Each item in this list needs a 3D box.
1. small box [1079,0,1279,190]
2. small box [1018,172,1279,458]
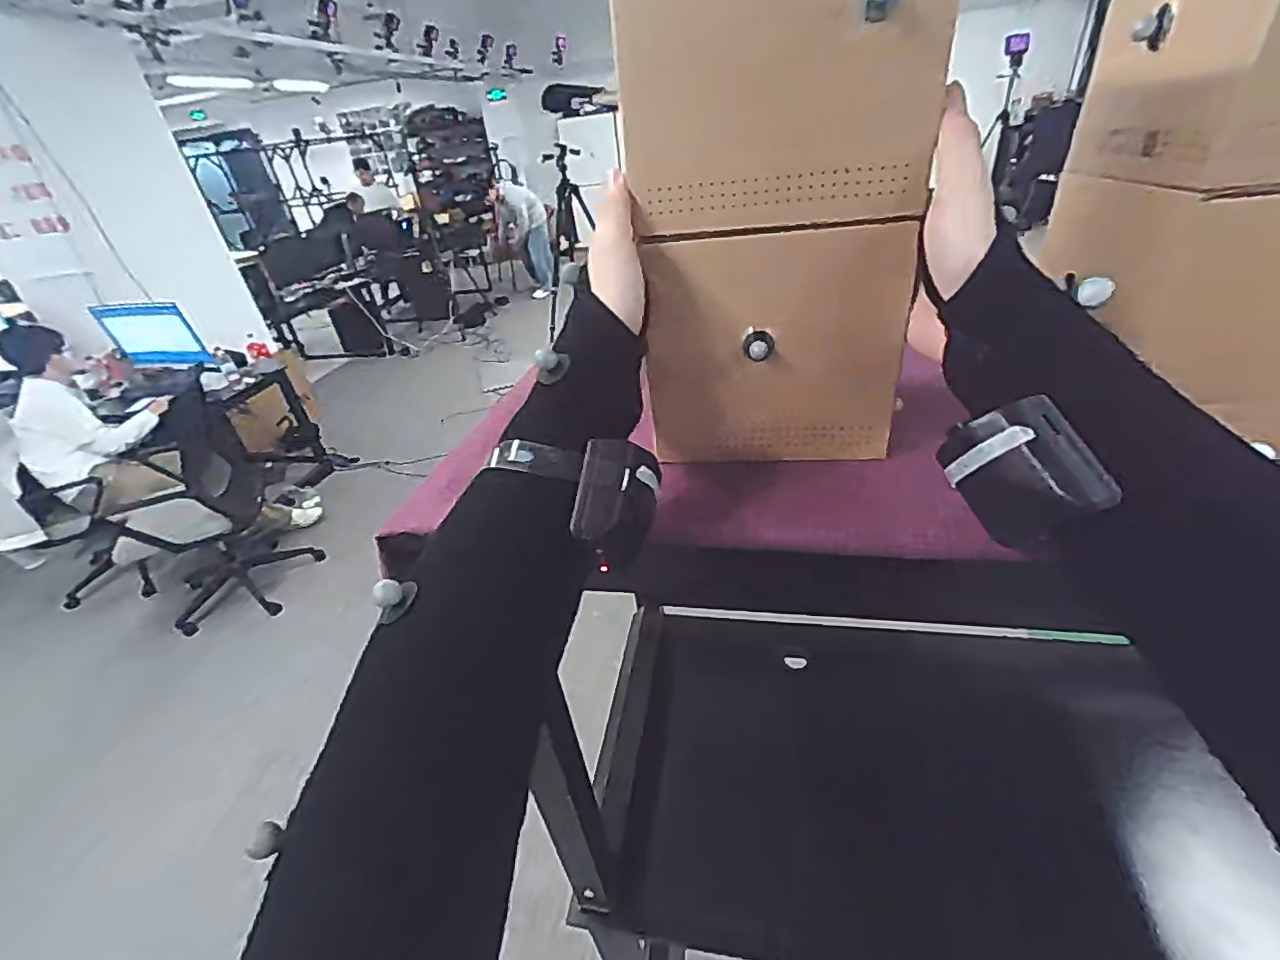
[{"bbox_3d":[0.383,-0.262,0.294,0.179,0.176,0.168,1,34,13],"label":"small box"},{"bbox_3d":[0.400,-0.123,0.381,0.179,0.176,0.168,1,33,12],"label":"small box"}]
